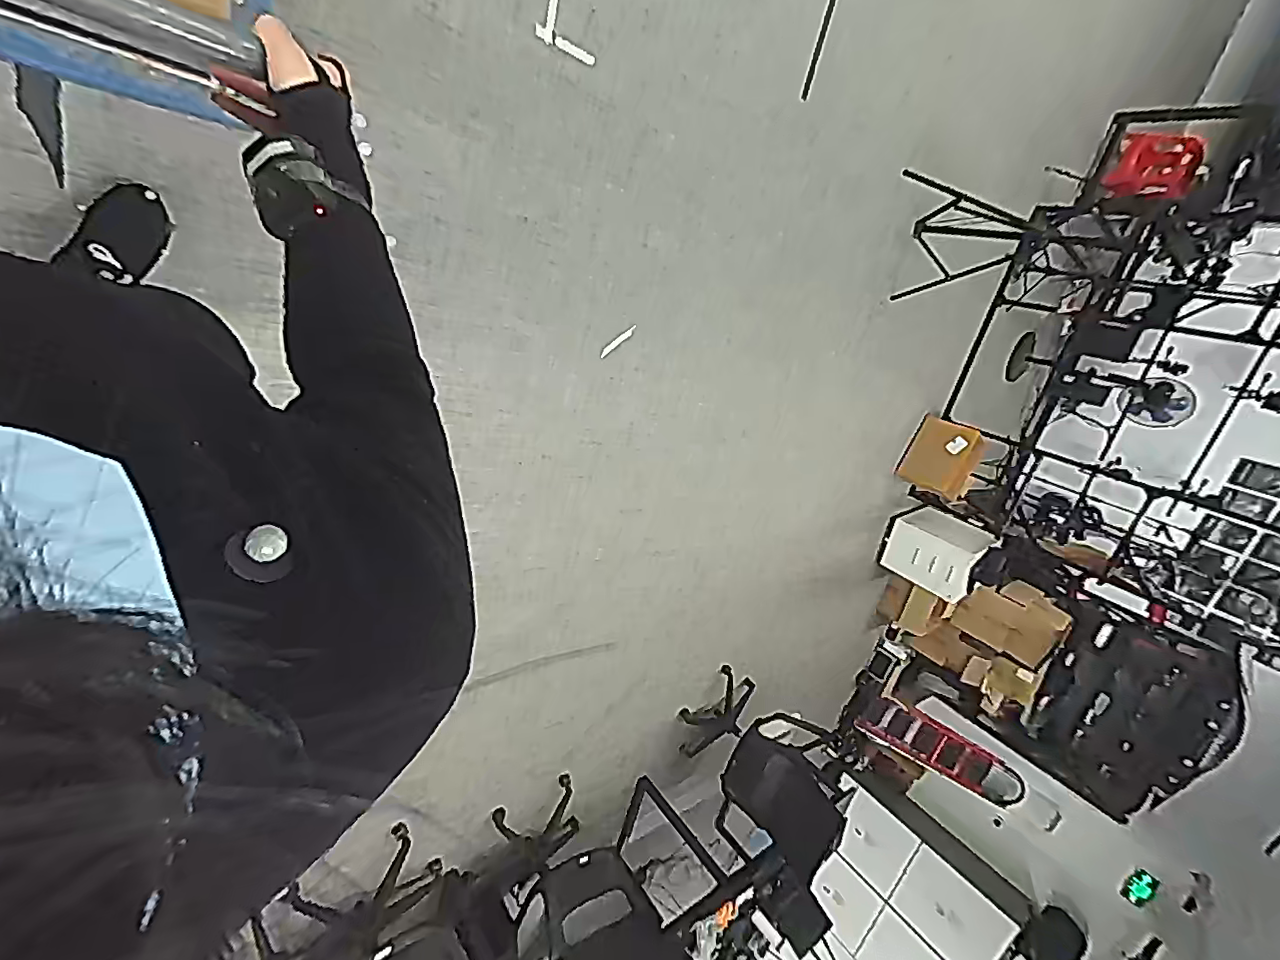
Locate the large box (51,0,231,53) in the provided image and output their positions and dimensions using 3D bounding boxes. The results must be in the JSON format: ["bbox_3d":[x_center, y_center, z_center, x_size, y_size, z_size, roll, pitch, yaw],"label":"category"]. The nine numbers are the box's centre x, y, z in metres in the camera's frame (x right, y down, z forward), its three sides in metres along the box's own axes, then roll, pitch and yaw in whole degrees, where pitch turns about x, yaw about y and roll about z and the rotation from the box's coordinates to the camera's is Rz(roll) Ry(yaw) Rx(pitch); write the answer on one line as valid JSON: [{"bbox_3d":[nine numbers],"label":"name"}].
[{"bbox_3d":[-0.729,-0.760,0.602,0.408,0.320,0.320,-4,117,-42],"label":"large box"}]
